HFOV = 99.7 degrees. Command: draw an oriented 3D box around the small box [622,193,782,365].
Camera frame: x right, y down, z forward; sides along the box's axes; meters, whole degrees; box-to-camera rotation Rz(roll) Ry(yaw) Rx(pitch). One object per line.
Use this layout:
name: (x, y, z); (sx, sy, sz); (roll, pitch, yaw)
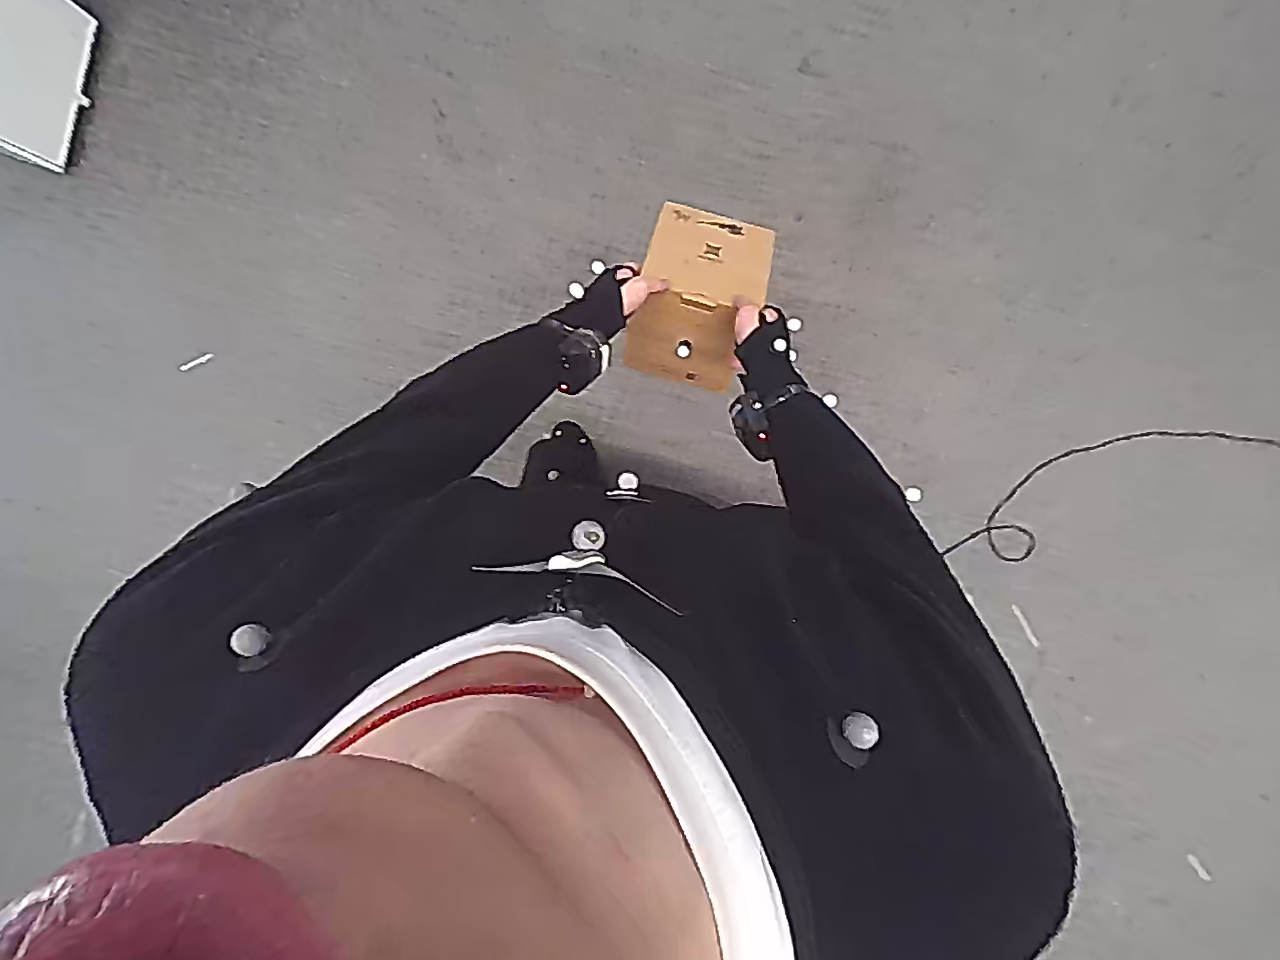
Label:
small box: (0.076, -0.291, 0.801); (0.179, 0.176, 0.168); (-13, 64, -14)
